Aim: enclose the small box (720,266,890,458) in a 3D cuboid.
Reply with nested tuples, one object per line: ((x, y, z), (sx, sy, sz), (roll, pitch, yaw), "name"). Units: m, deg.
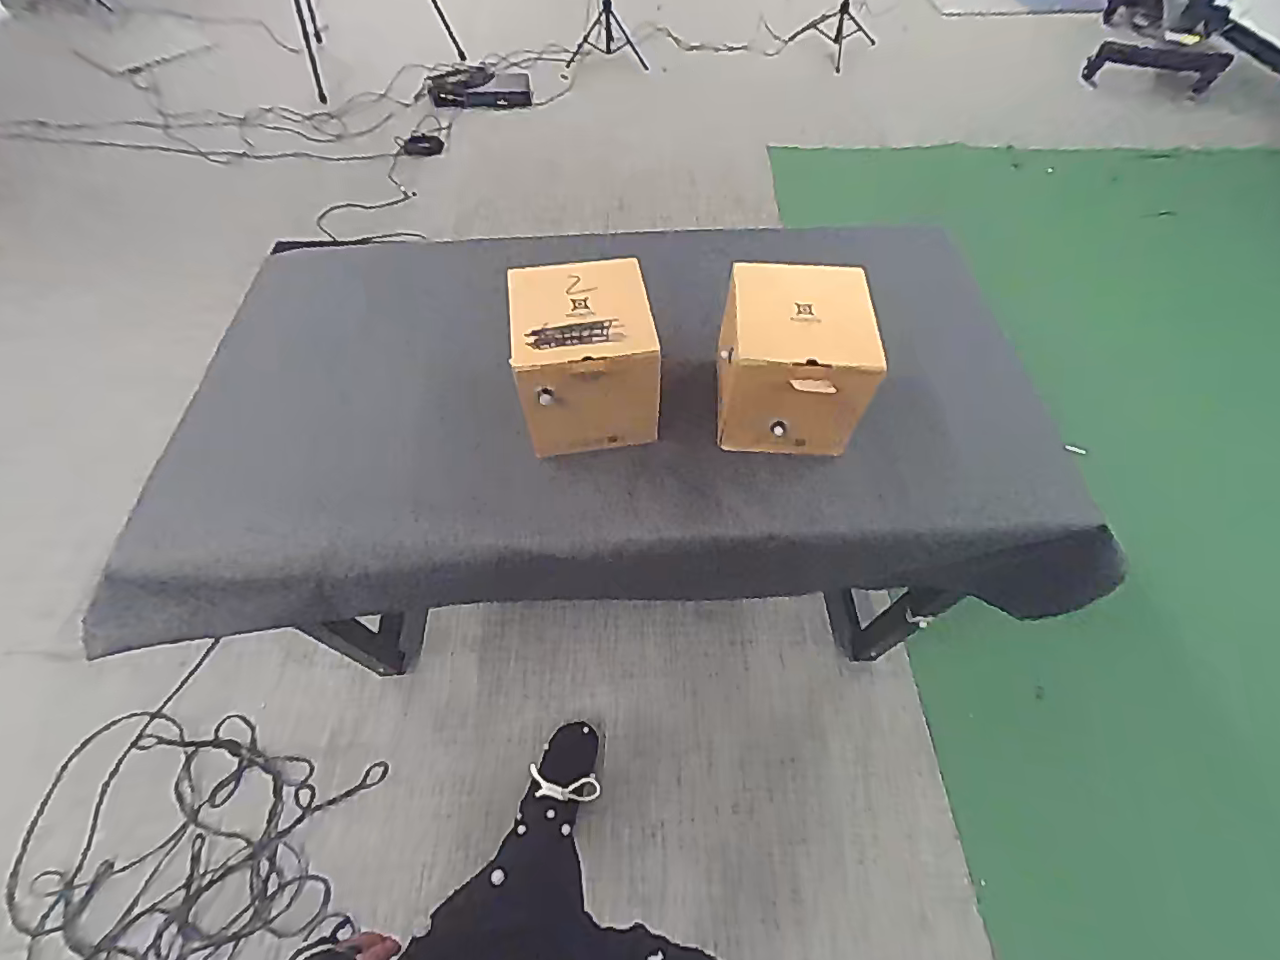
((0.198, -0.151, 0.708), (0.168, 0.176, 0.179), (3, 58, 1), "small box")
